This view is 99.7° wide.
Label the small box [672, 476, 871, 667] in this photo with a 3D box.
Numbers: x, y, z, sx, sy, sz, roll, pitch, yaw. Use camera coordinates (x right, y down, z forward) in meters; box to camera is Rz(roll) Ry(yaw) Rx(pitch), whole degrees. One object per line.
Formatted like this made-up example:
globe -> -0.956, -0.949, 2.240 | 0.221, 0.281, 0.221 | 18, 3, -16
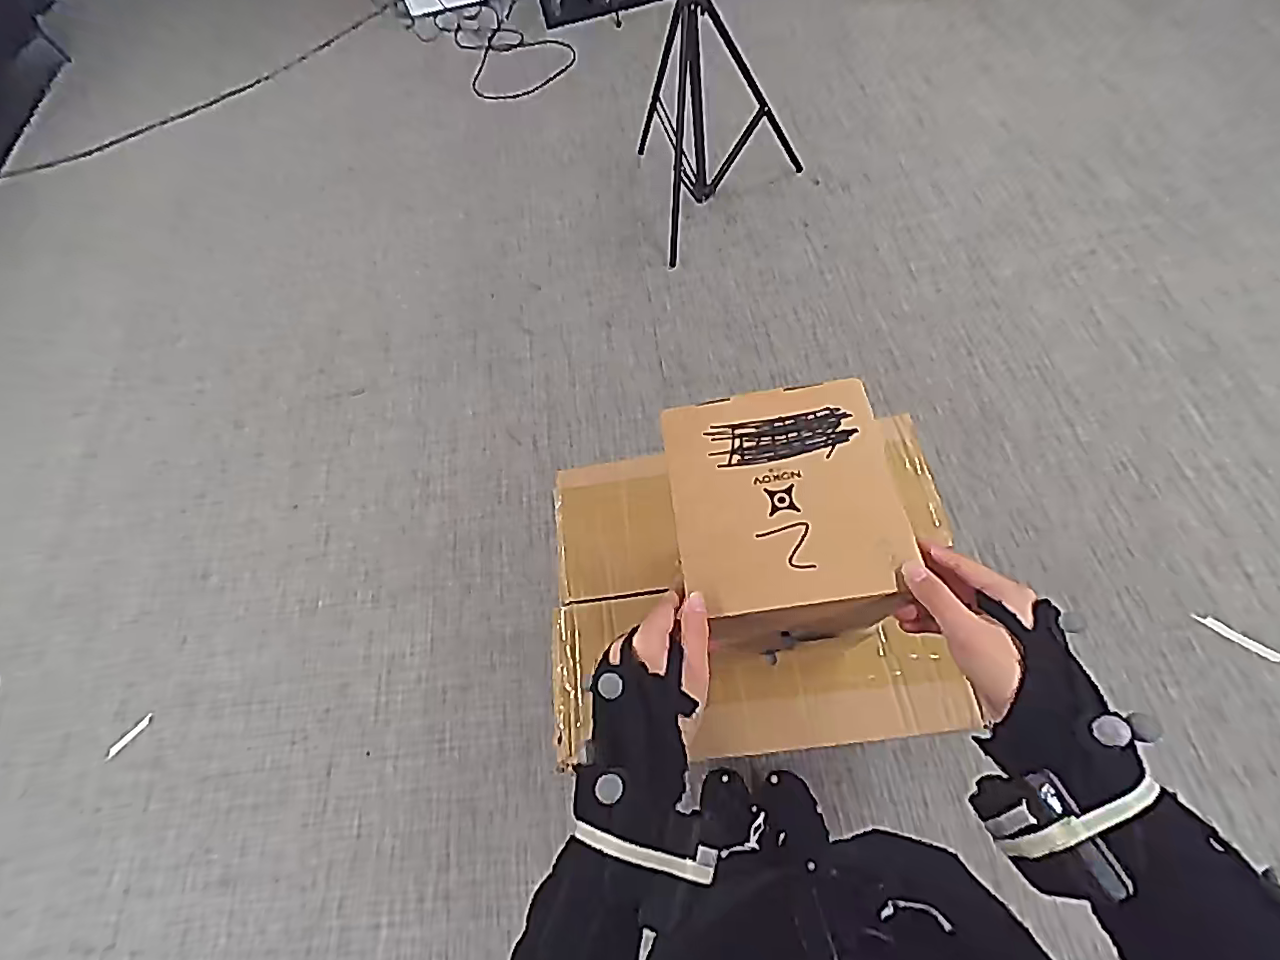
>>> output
small box -> 0.140, 0.115, 0.622 | 0.179, 0.176, 0.168 | -9, 65, 5
